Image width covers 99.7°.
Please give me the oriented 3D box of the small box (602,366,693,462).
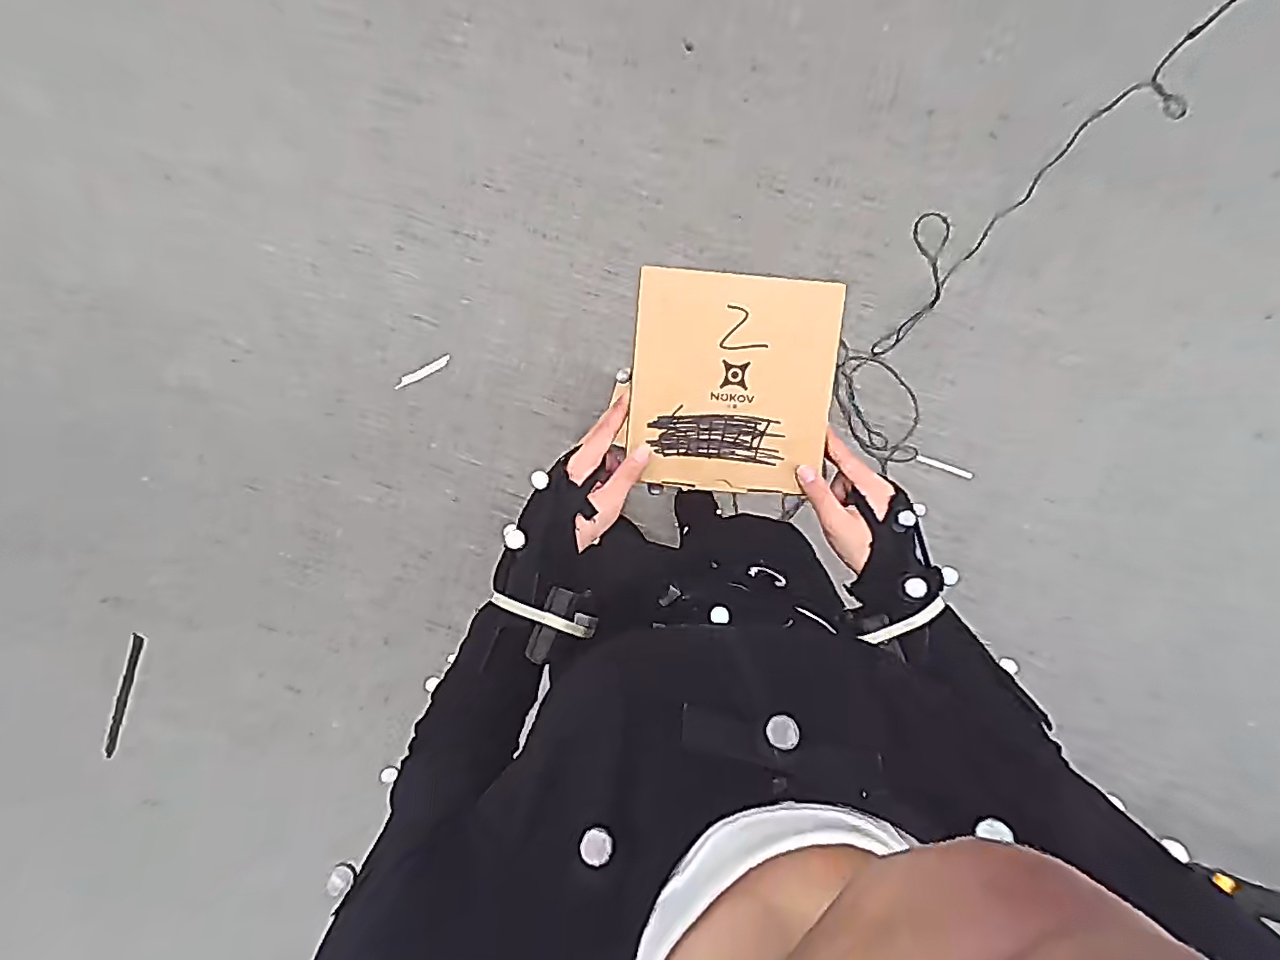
[{"bbox_3d":[0.025,-0.151,1.283,0.168,0.176,0.179,18,94,4],"label":"small box"}]
